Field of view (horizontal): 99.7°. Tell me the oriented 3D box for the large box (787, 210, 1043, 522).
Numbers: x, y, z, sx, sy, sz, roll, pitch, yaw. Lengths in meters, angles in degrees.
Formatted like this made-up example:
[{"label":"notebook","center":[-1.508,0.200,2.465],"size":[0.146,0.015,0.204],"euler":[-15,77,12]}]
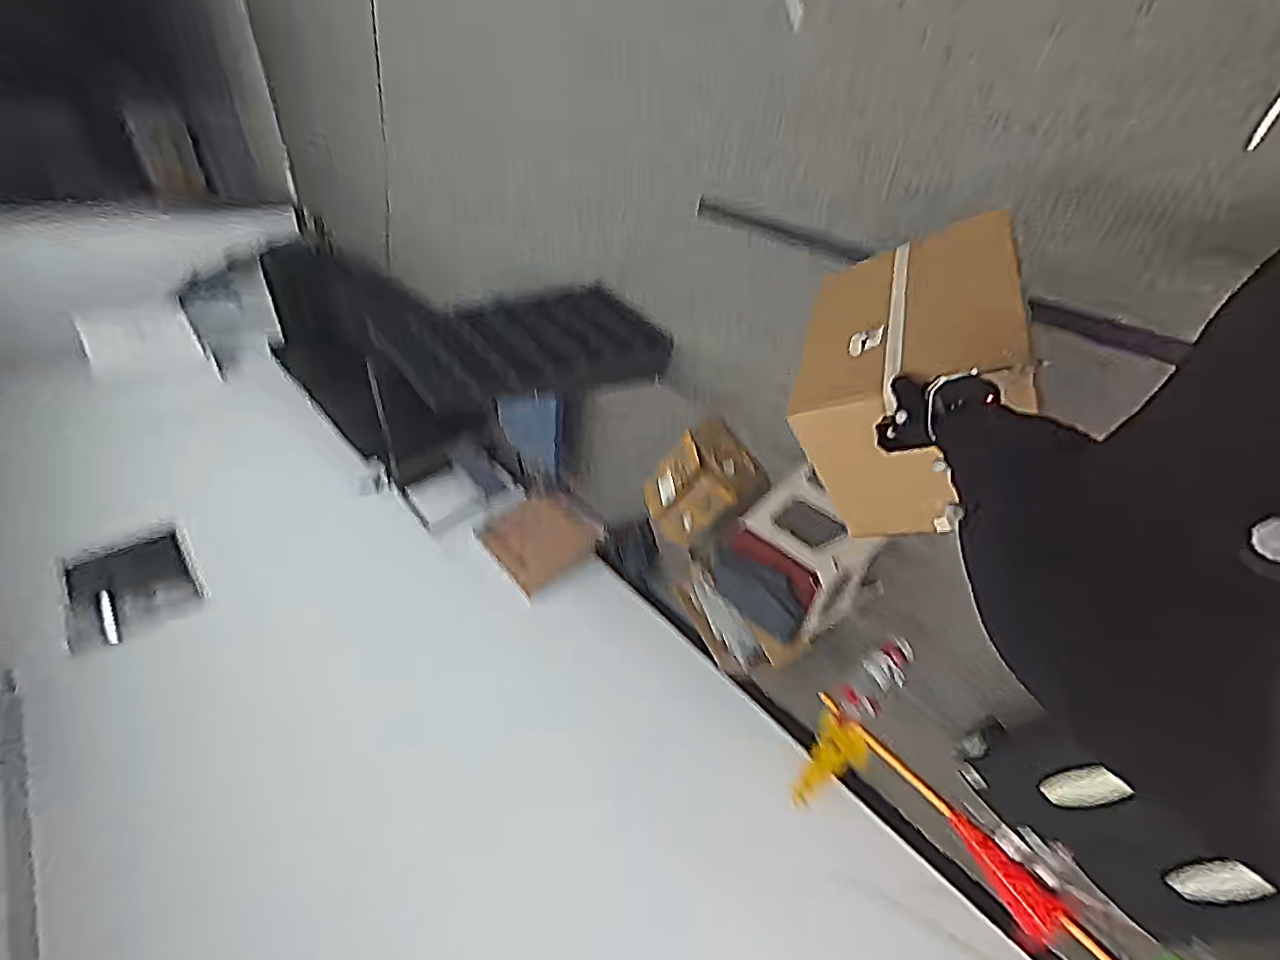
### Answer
[{"label":"large box","center":[0.490,-0.182,0.949],"size":[0.320,0.408,0.320],"euler":[-9,135,39]}]
